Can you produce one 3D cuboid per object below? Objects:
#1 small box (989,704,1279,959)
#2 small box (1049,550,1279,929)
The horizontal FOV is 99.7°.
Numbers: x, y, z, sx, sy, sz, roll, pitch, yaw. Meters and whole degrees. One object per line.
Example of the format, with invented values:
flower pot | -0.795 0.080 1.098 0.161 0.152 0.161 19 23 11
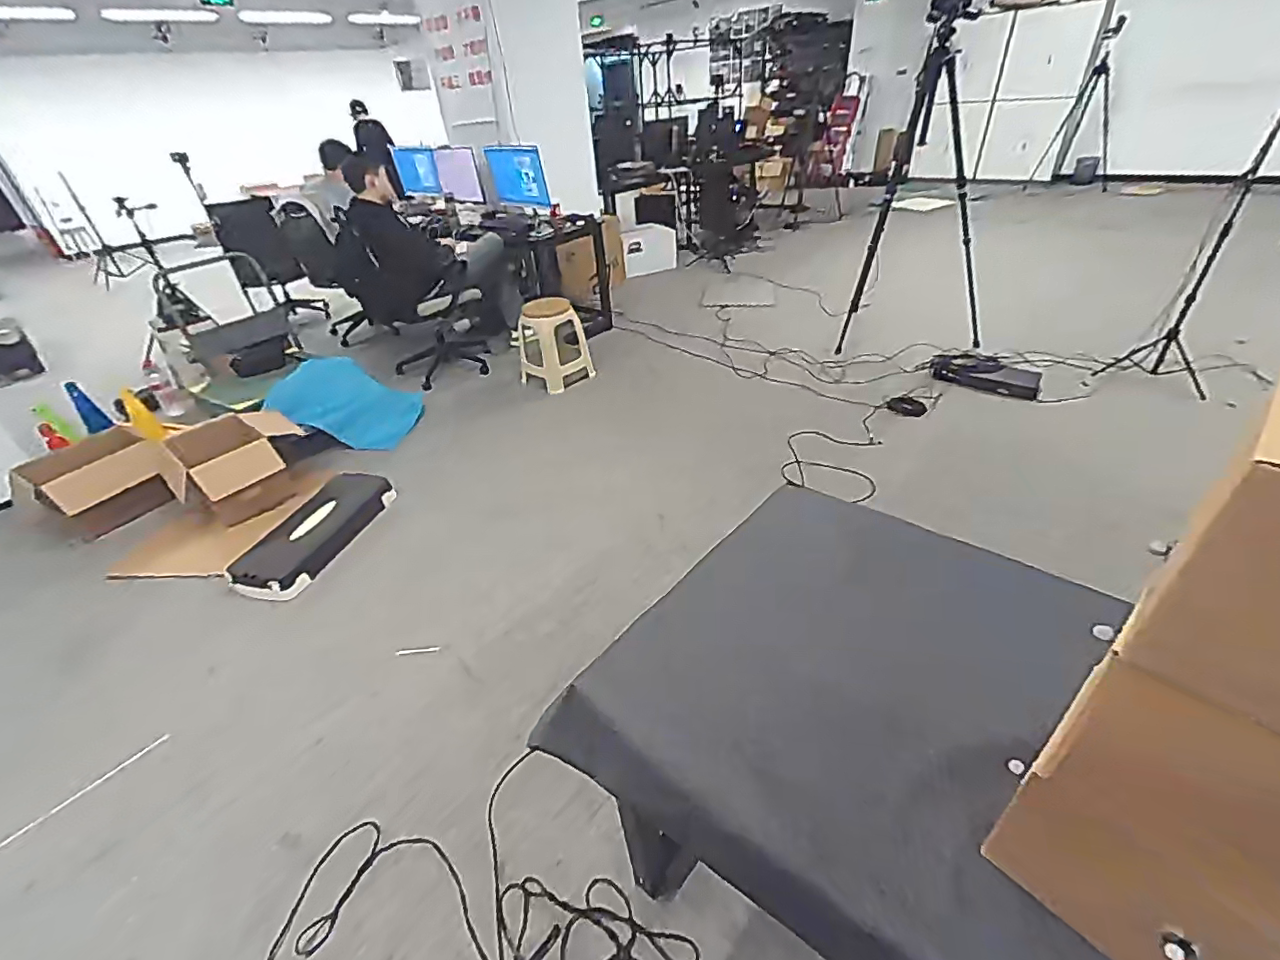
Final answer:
small box | 0.469 0.327 0.501 0.168 0.176 0.179 -27 39 -30
small box | 0.459 0.191 0.412 0.168 0.176 0.179 -27 41 -30
